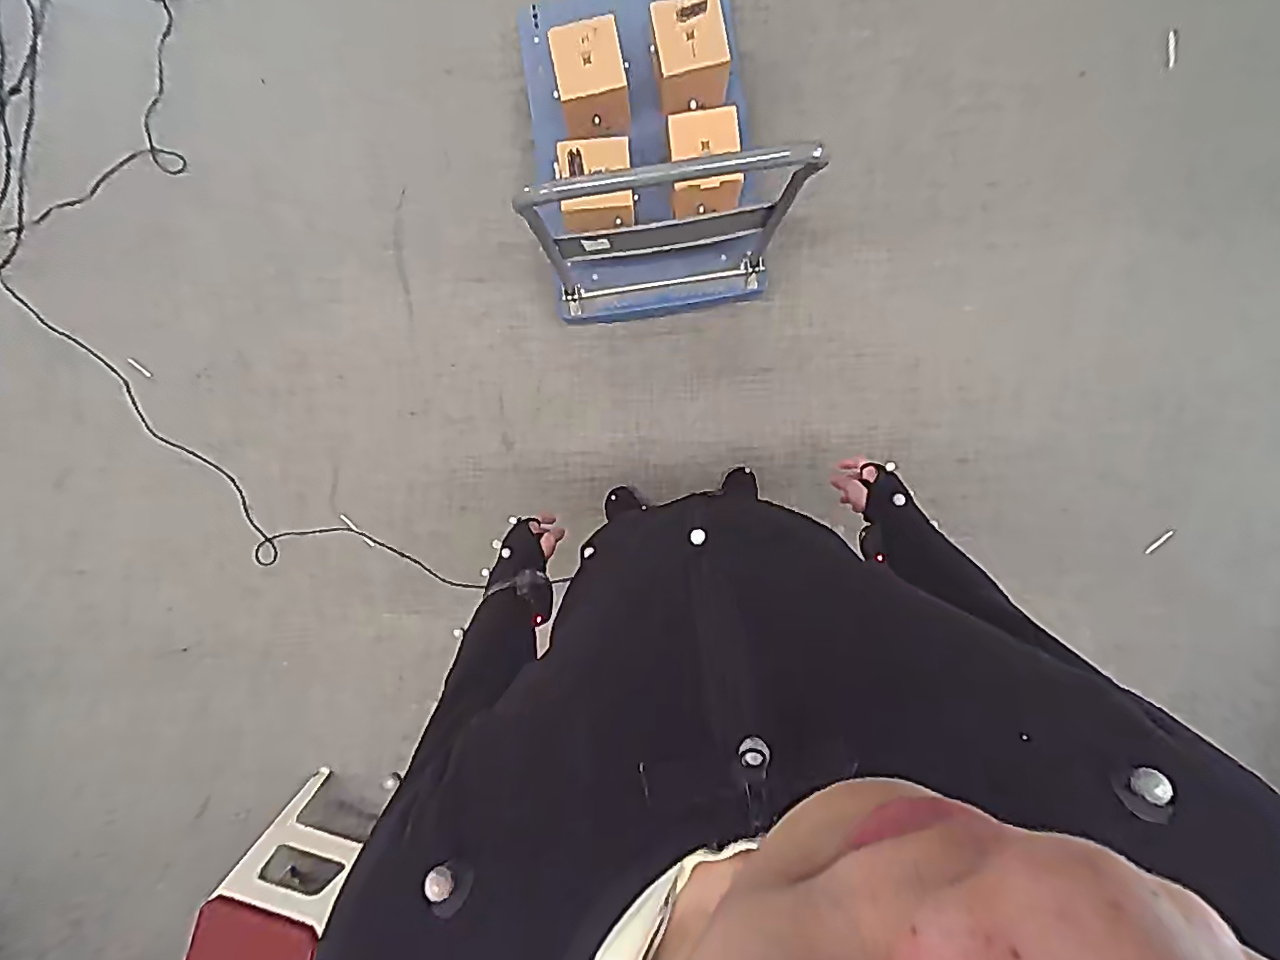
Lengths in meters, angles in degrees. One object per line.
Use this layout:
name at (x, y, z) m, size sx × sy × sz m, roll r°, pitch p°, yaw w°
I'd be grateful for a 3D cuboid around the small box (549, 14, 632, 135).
small box at (-0.118, -1.009, 1.367) m, size 0.168 × 0.176 × 0.179 m, roll -11°, pitch 91°, yaw 2°

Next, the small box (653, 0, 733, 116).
small box at (0.128, -1.060, 1.353) m, size 0.168 × 0.176 × 0.179 m, roll -11°, pitch 92°, yaw 4°

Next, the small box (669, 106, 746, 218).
small box at (0.164, -0.792, 1.361) m, size 0.168 × 0.176 × 0.179 m, roll -6°, pitch 92°, yaw 3°
